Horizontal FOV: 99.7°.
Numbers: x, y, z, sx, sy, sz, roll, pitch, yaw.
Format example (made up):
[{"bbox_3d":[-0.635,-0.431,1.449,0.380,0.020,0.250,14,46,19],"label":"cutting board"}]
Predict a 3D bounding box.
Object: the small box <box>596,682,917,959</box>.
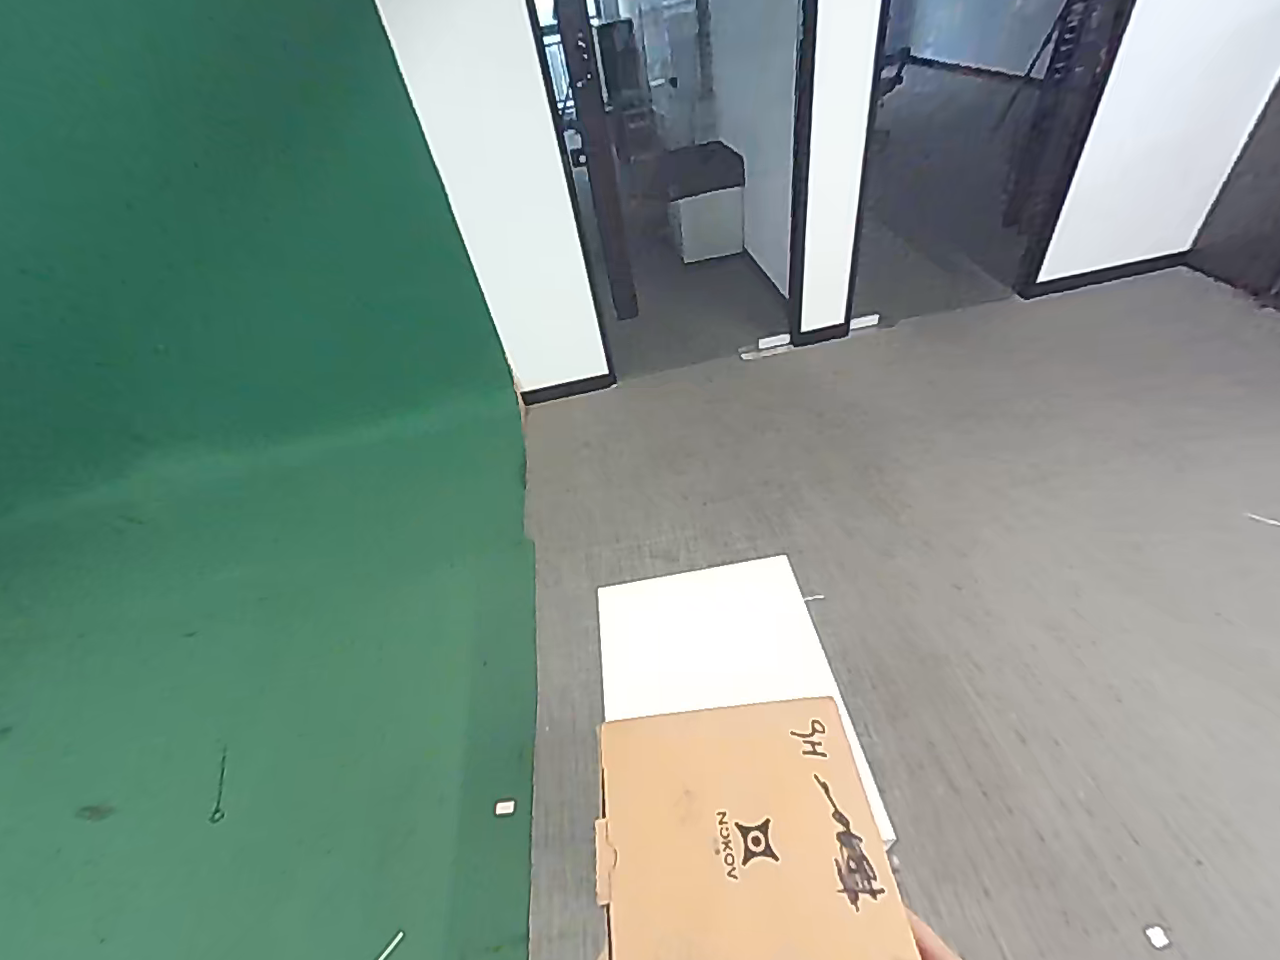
[{"bbox_3d":[0.065,0.272,0.405,0.179,0.176,0.168,-6,48,-2],"label":"small box"}]
